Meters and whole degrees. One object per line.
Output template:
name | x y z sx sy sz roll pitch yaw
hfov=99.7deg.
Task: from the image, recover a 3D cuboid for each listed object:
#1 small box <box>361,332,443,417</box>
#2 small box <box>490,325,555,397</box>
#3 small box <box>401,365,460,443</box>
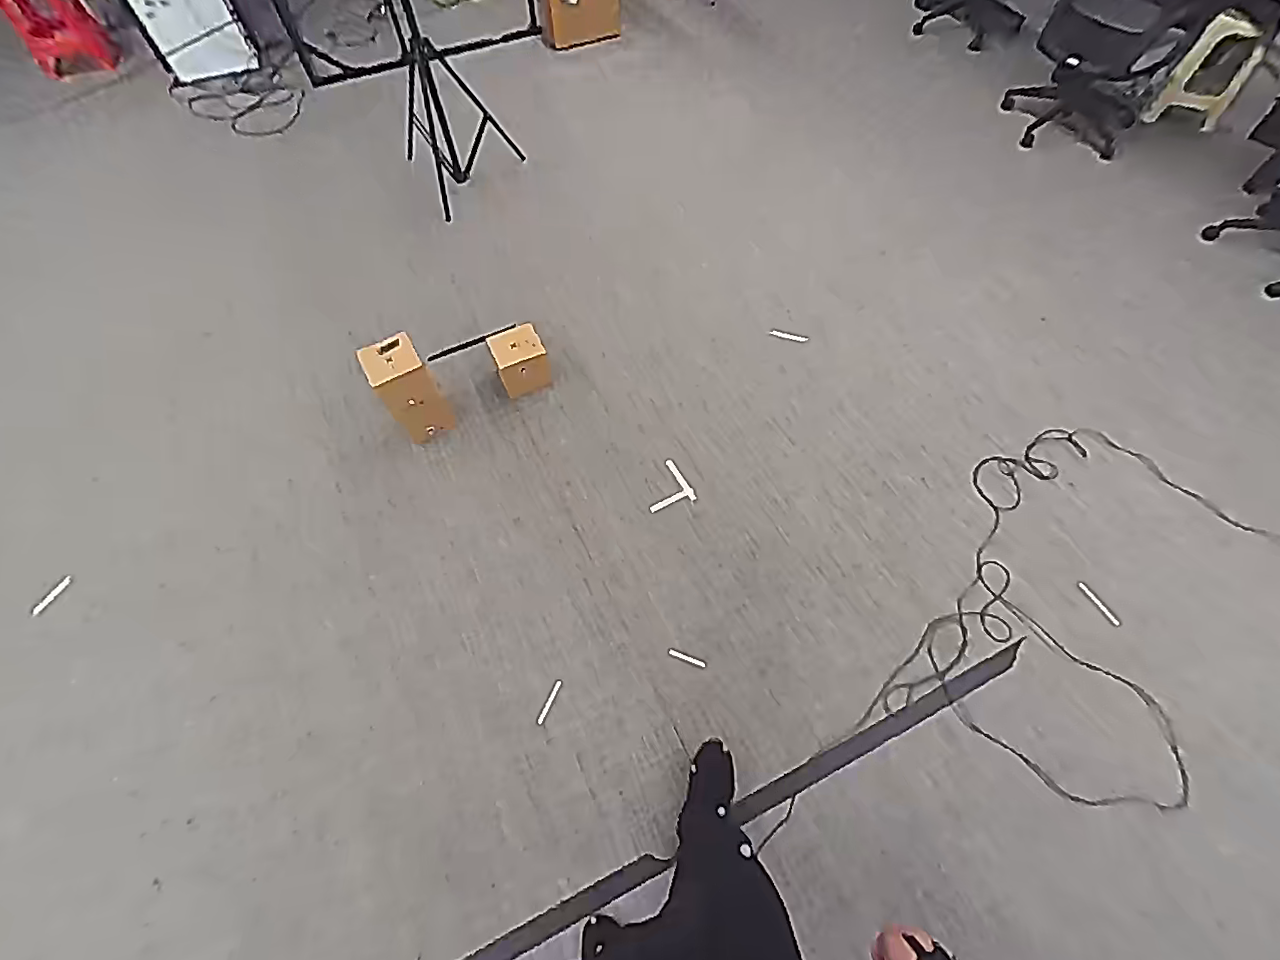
small box | -0.769 -0.339 1.759 0.168 0.176 0.179 -28 64 -13
small box | -0.430 -0.433 1.992 0.179 0.176 0.168 -22 62 -12
small box | -0.760 -0.265 1.905 0.168 0.176 0.179 -29 64 -14
